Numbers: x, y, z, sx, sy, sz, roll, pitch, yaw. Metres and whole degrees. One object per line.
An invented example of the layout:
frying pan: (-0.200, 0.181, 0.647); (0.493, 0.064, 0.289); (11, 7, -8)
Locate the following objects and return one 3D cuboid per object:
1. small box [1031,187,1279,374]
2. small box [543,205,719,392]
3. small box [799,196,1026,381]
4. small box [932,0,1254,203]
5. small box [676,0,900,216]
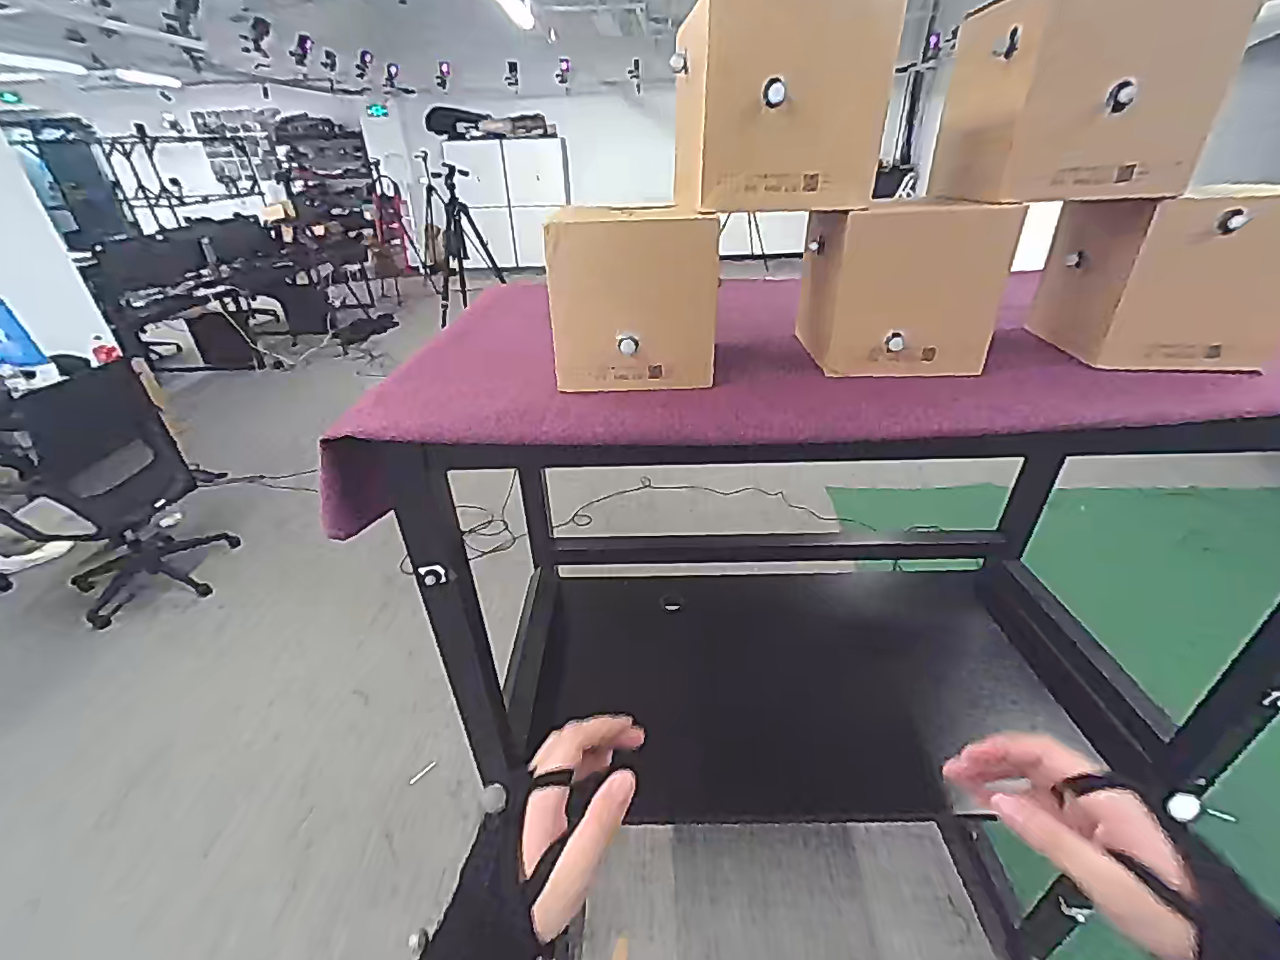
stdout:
small box: (0.578, -0.225, 0.599); (0.168, 0.176, 0.179); (2, 30, 10)
small box: (-0.007, -0.206, 0.604); (0.168, 0.176, 0.179); (-2, 32, 1)
small box: (0.284, -0.221, 0.614); (0.168, 0.176, 0.179); (-1, 31, 5)
small box: (0.416, -0.368, 0.529); (0.168, 0.176, 0.179); (0, 31, 4)
small box: (0.128, -0.358, 0.536); (0.168, 0.176, 0.179); (-3, 30, -3)
